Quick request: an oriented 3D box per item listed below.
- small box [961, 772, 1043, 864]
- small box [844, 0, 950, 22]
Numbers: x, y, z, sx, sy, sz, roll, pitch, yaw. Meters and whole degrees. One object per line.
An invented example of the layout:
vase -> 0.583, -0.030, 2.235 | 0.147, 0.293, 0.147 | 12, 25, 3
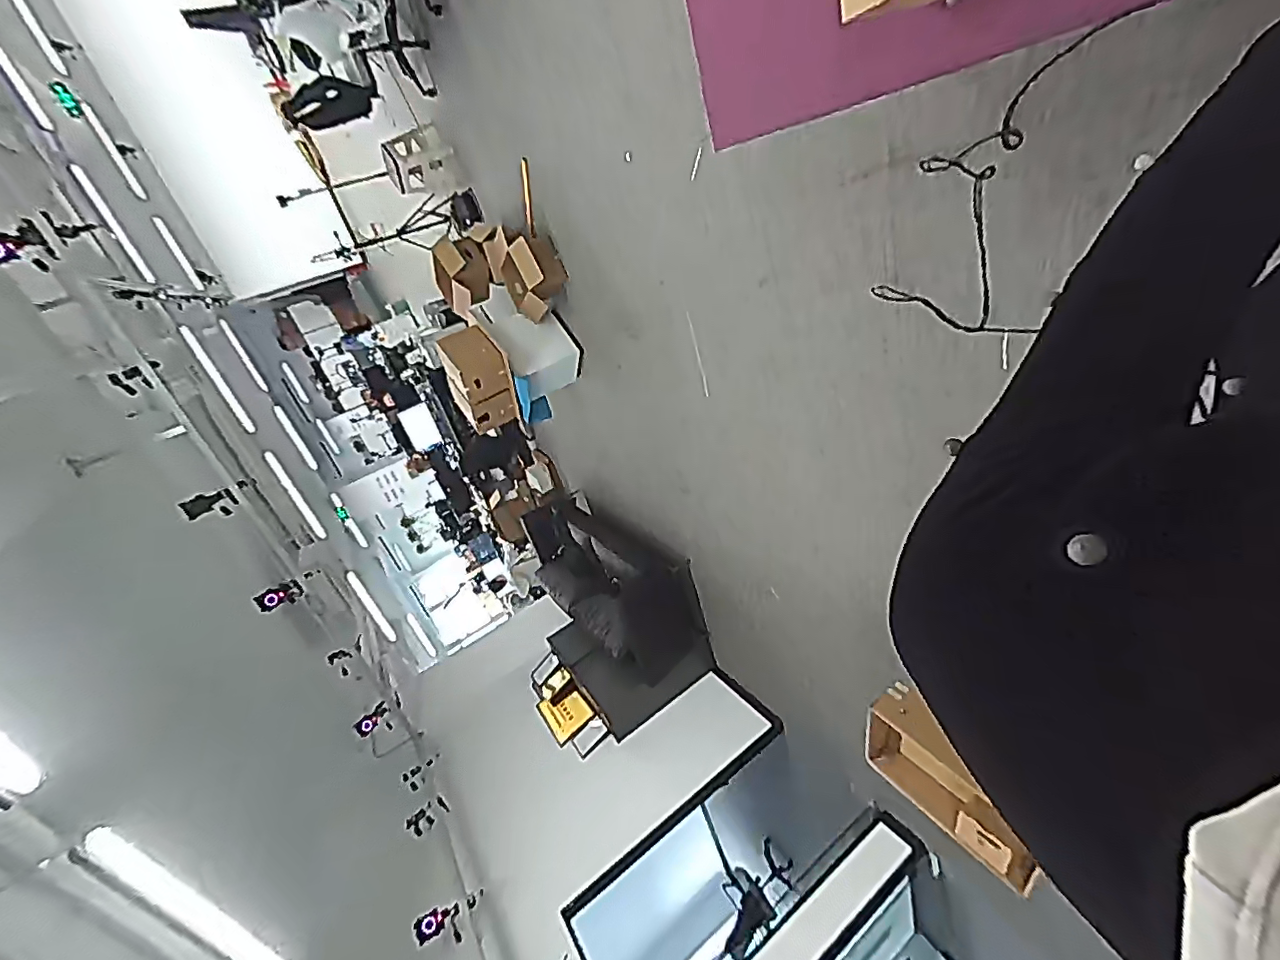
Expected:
small box -> 1.222, 1.136, 1.827 | 0.168, 0.176, 0.179 | 35, 148, 50
small box -> 0.350, -0.666, 0.613 | 0.168, 0.176, 0.179 | 30, 142, 56
